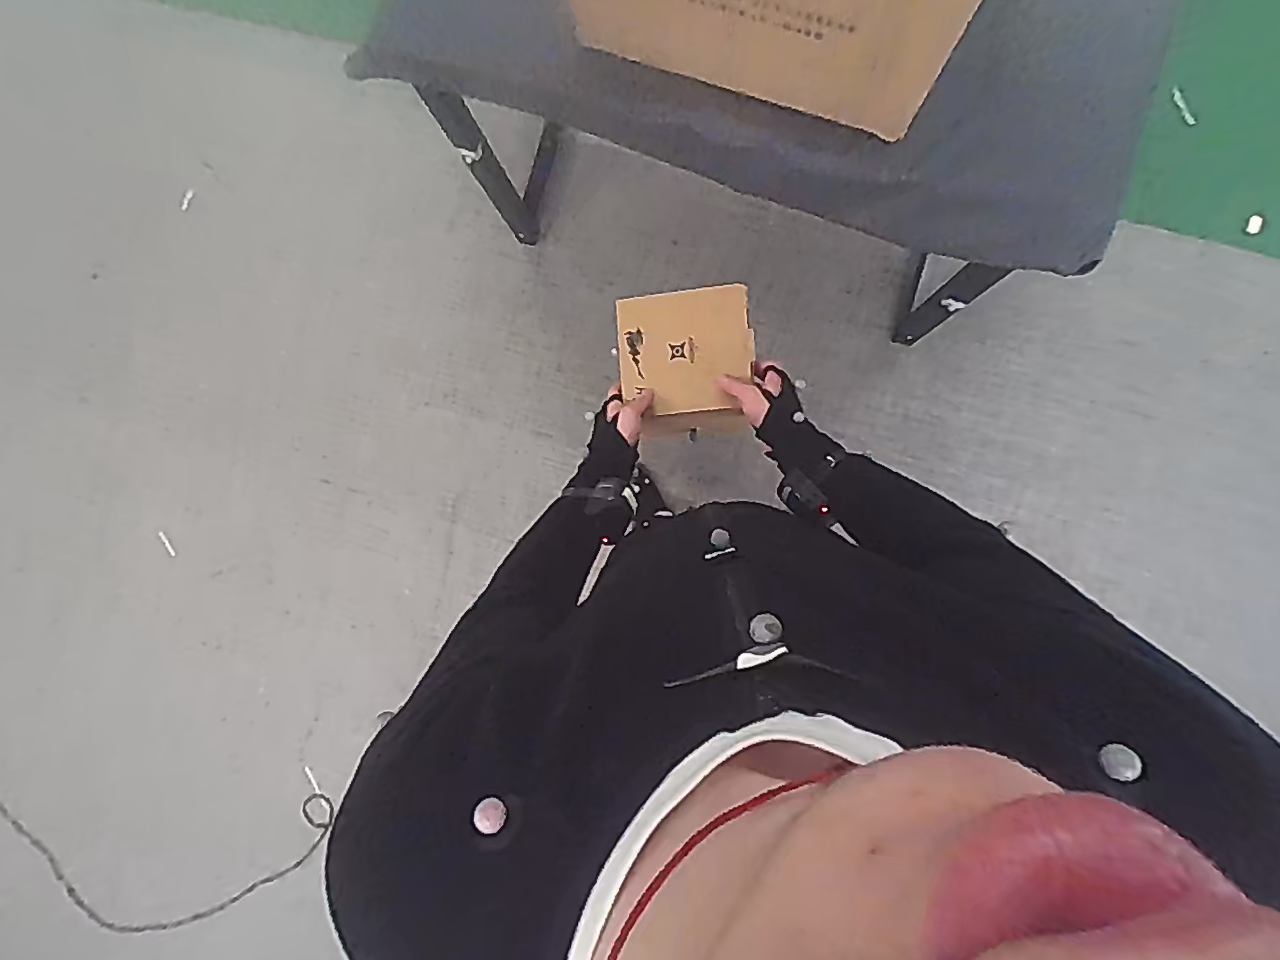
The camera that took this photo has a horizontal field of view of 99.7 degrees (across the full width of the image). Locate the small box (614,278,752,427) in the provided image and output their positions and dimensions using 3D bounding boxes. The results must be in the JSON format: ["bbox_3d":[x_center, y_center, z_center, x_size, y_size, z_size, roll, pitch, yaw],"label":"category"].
[{"bbox_3d":[0.064,-0.174,0.788,0.179,0.176,0.168,-4,86,7],"label":"small box"}]
